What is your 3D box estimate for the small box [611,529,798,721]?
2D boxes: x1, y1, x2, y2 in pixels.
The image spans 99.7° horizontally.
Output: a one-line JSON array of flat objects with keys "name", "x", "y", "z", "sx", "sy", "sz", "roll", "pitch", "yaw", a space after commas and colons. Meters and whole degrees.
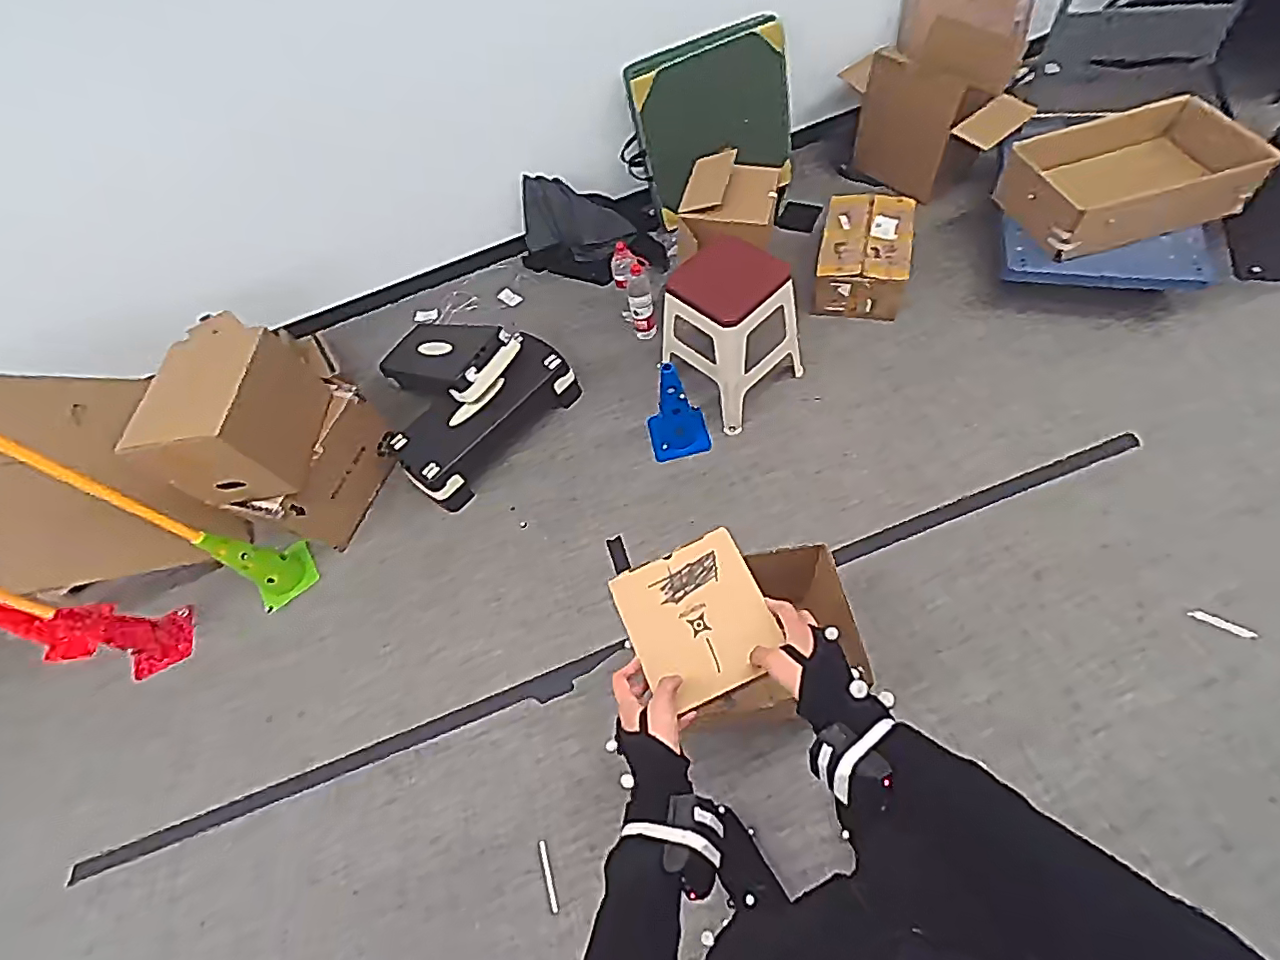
[{"name": "small box", "x": 0.080, "y": 0.194, "z": 0.700, "sx": 0.168, "sy": 0.176, "sz": 0.179, "roll": -25, "pitch": 66, "yaw": -2}]
